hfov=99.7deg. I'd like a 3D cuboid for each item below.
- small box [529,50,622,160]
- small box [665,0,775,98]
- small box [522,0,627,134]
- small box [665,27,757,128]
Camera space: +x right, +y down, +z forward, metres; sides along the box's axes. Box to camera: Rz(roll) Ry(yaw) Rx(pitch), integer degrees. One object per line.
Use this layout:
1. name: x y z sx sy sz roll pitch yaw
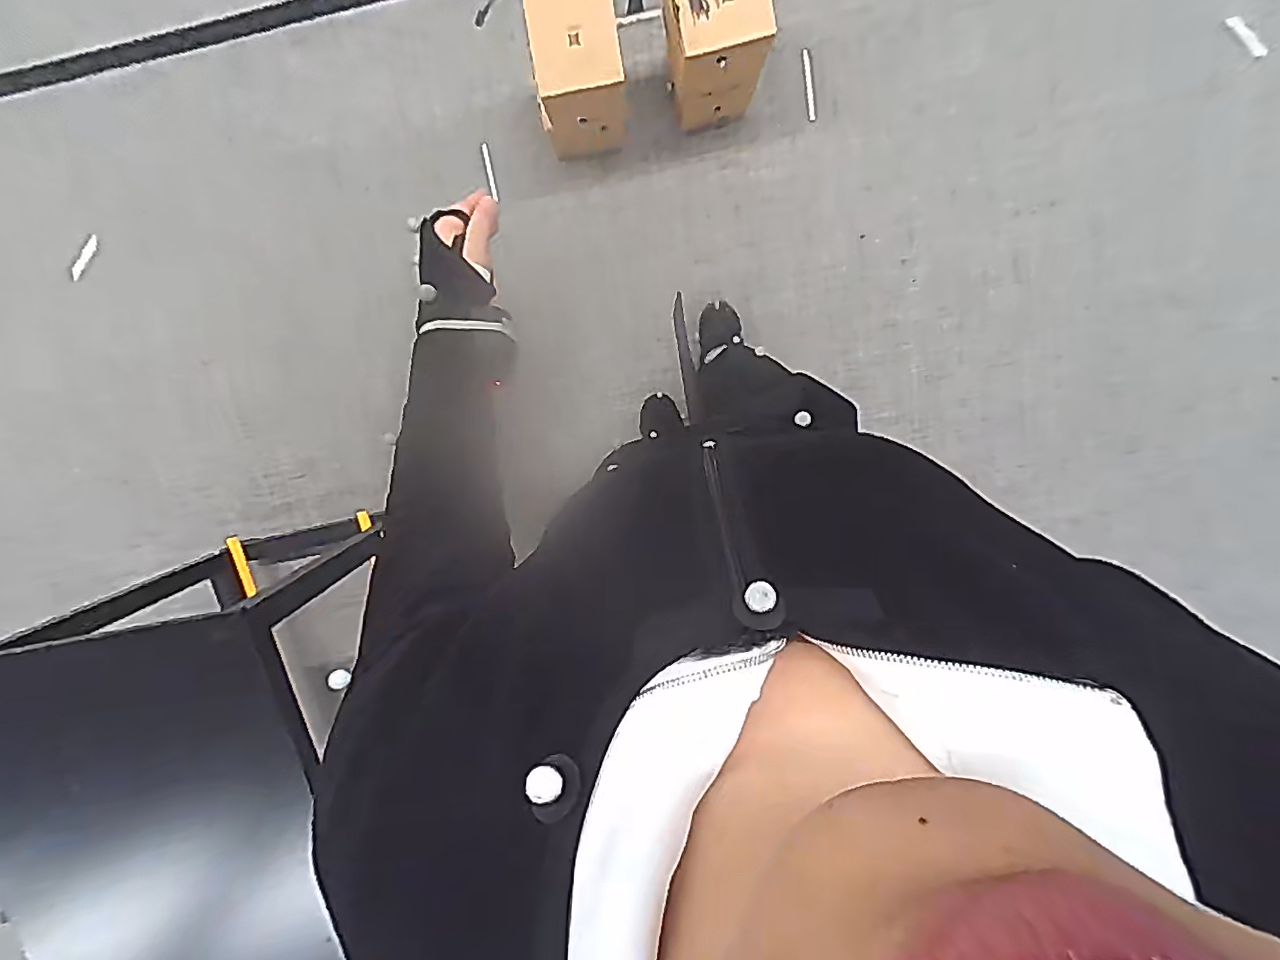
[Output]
1. small box: -0.137 -0.859 1.229 0.179 0.176 0.168 -10 101 3
2. small box: 0.146 -0.886 1.053 0.179 0.176 0.168 -13 101 2
3. small box: -0.122 -0.825 1.070 0.168 0.176 0.179 -9 103 4
4. small box: 0.154 -0.925 1.215 0.168 0.176 0.179 -13 102 3
